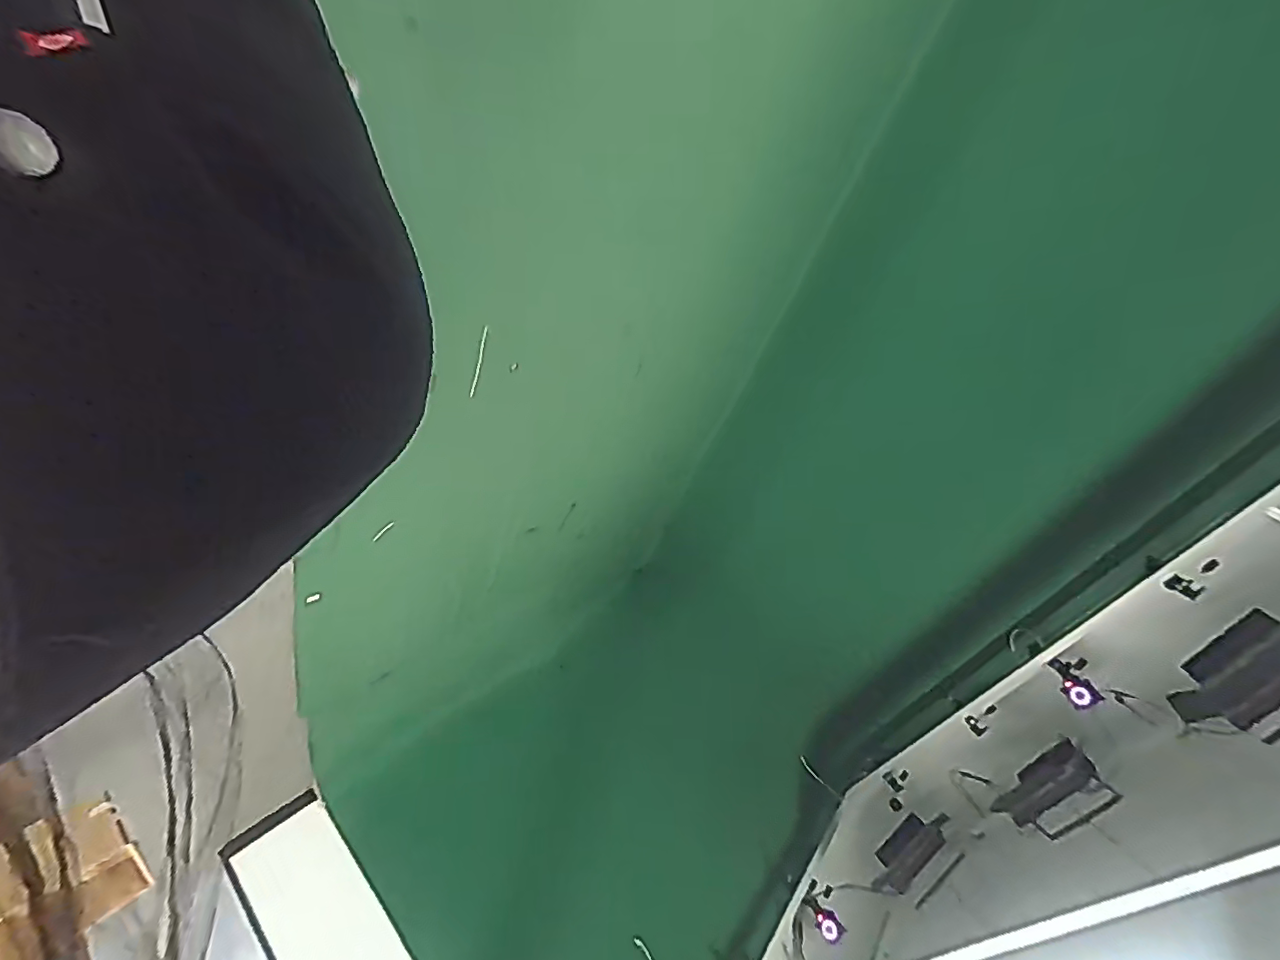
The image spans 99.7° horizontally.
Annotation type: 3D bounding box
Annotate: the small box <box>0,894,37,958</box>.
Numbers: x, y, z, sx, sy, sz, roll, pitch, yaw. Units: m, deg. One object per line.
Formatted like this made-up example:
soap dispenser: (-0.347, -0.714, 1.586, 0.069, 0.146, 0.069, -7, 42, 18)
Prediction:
small box: (-1.642, 1.151, 1.315, 0.168, 0.176, 0.179, -31, 152, -42)

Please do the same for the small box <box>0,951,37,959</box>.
small box: (-1.526, 1.253, 1.259, 0.168, 0.176, 0.179, -32, 153, -42)
